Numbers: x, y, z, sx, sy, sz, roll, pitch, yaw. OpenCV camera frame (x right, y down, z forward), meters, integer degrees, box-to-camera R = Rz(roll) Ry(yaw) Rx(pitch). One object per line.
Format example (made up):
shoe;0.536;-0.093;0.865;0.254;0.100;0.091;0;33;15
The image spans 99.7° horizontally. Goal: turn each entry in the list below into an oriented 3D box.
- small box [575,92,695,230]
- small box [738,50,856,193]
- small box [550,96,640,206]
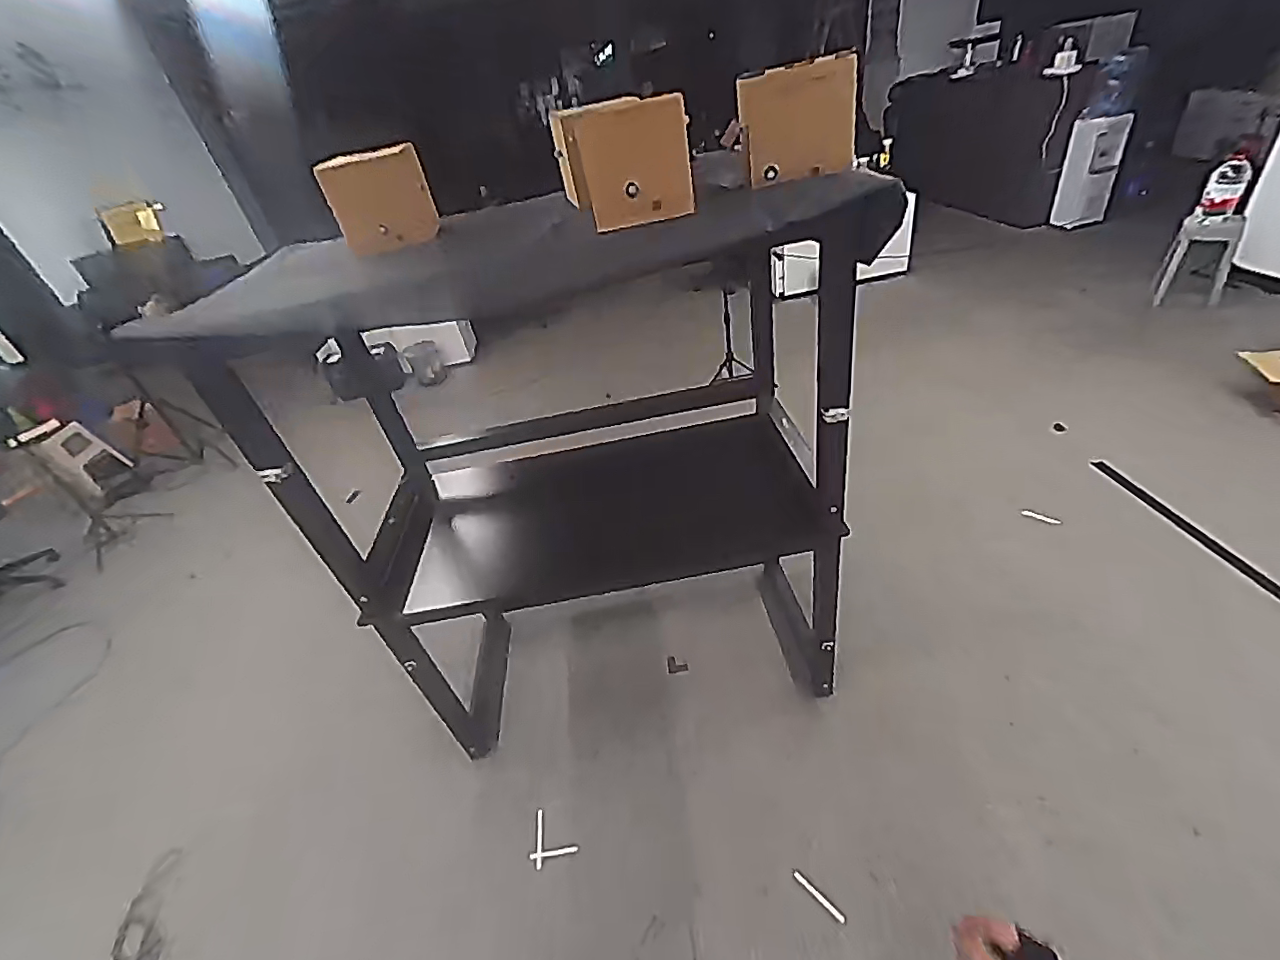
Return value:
small box;-0.008;-0.530;0.905;0.168;0.176;0.179;-11;35;2
small box;0.259;-0.598;0.913;0.168;0.176;0.179;-6;35;9
small box;-0.084;-0.694;1.145;0.168;0.176;0.179;-17;36;-6
